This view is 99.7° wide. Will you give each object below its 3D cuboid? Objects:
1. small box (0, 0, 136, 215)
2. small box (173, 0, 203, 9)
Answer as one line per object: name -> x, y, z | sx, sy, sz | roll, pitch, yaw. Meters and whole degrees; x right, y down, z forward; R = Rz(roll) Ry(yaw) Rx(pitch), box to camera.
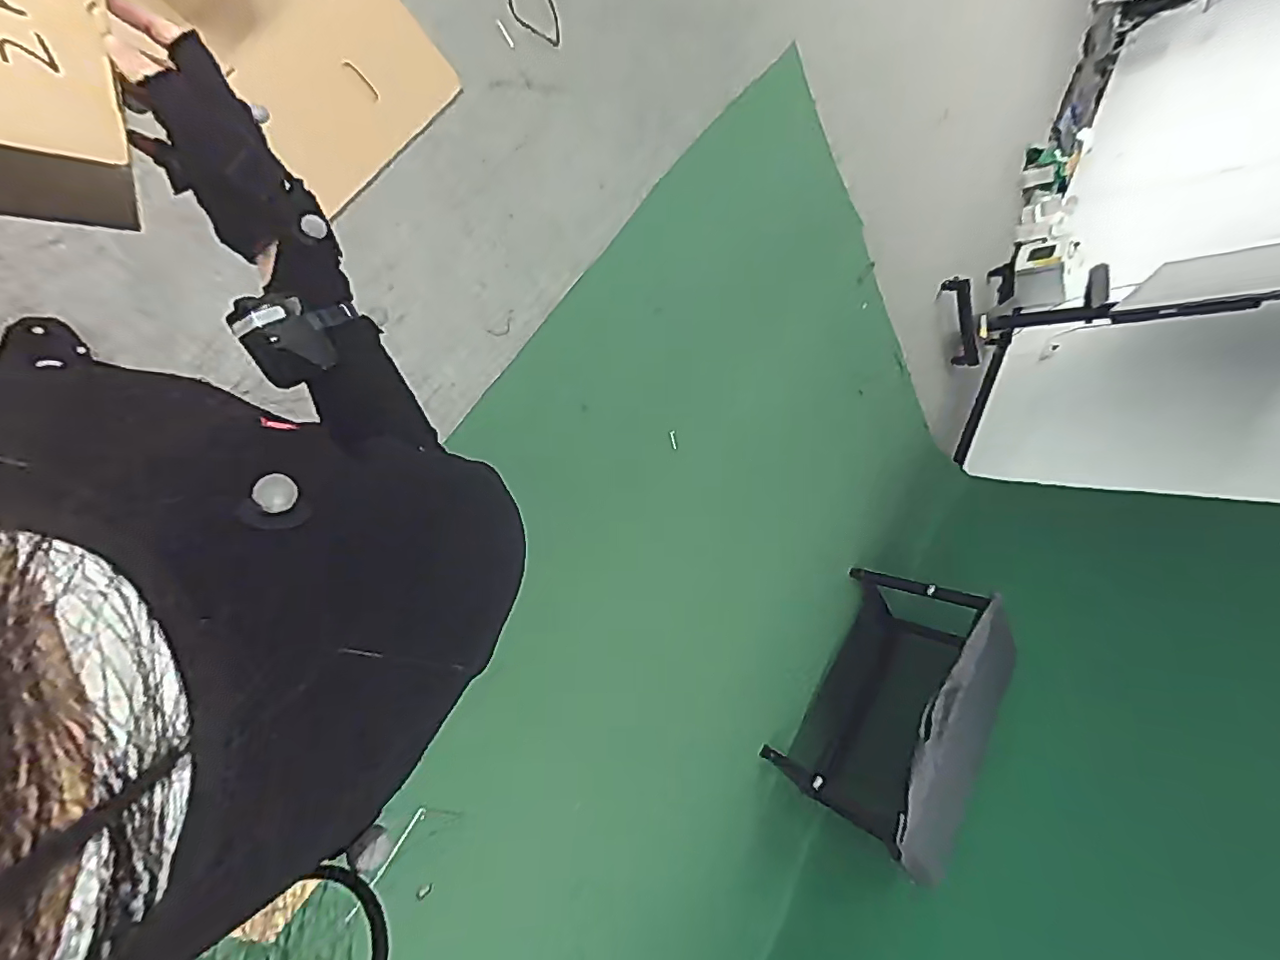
small box -> -0.428, -0.271, 0.315 | 0.179, 0.176, 0.168 | -10, 103, -40
small box -> -0.865, -1.034, 0.993 | 0.168, 0.176, 0.179 | 39, 70, -37
